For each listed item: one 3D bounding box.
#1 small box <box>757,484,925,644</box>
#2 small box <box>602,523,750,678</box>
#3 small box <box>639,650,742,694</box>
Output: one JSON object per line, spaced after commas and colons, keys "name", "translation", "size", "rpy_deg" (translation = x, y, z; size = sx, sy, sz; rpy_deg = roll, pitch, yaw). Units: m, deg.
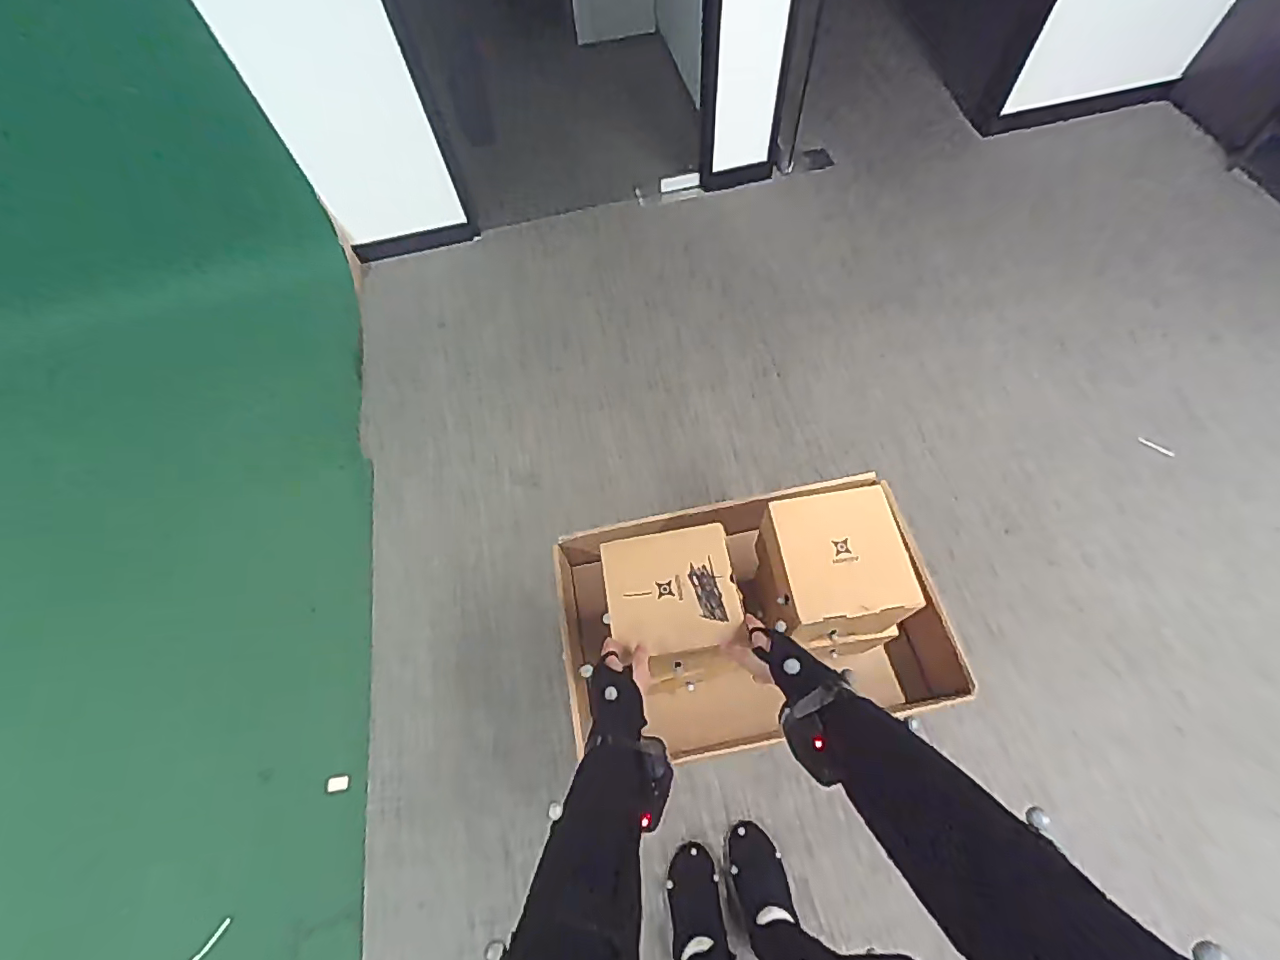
{"name": "small box", "translation": [0.279, 0.129, 0.799], "size": [0.168, 0.176, 0.179], "rpy_deg": [-9, 62, 0]}
{"name": "small box", "translation": [0.047, 0.180, 0.783], "size": [0.179, 0.176, 0.168], "rpy_deg": [-9, 60, 0]}
{"name": "small box", "translation": [0.062, 0.253, 0.931], "size": [0.168, 0.176, 0.179], "rpy_deg": [-14, 63, -4]}
